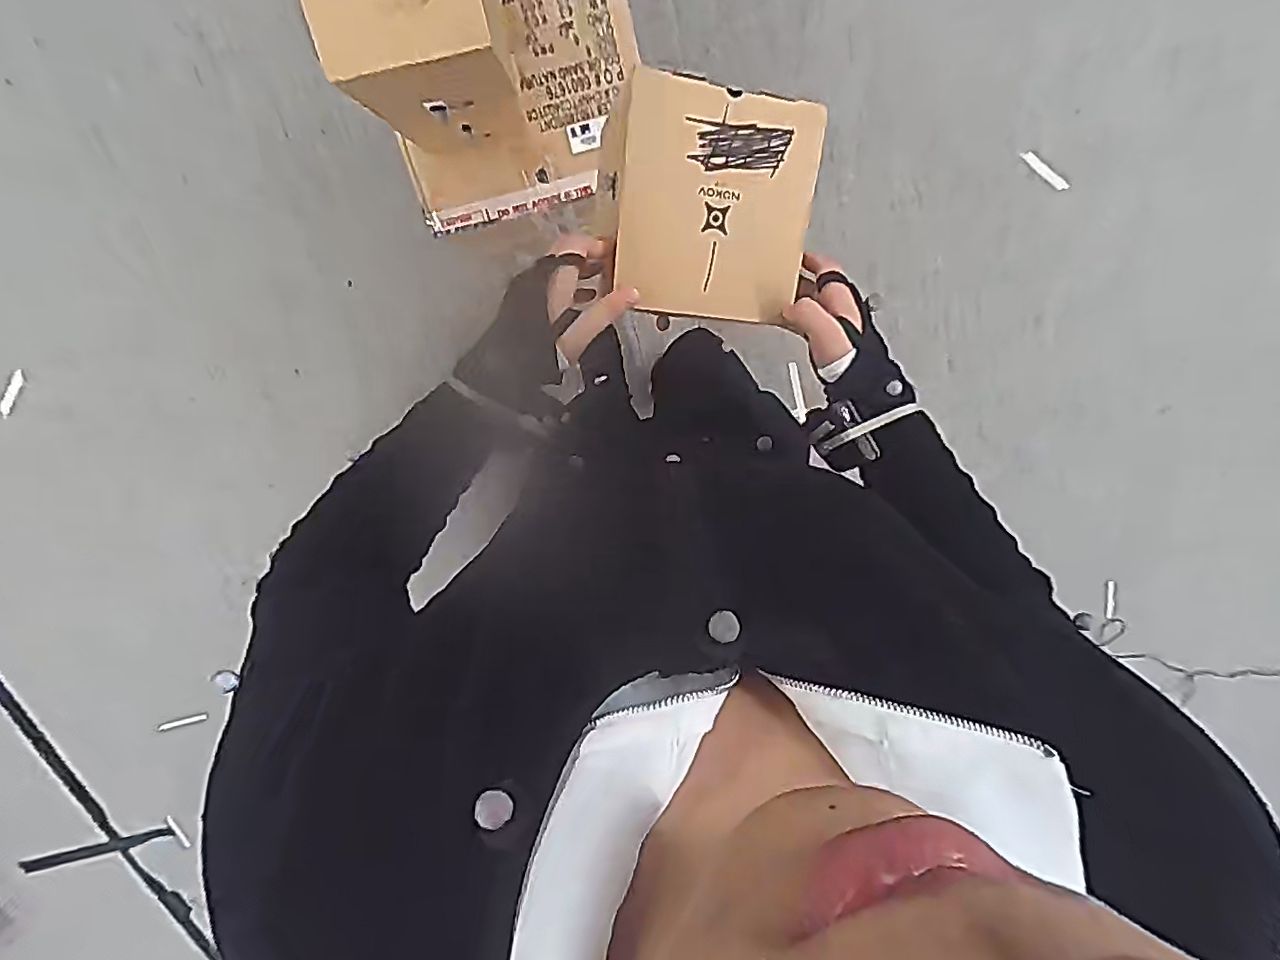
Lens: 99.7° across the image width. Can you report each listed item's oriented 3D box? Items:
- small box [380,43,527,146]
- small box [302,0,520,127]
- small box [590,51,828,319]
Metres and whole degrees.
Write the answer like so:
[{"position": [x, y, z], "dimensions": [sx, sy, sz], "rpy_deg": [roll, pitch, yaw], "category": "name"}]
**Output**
[{"position": [-0.256, -0.560, 0.710], "dimensions": [0.168, 0.176, 0.179], "rpy_deg": [-12, 111, 1], "category": "small box"}, {"position": [-0.236, -0.500, 0.559], "dimensions": [0.168, 0.176, 0.179], "rpy_deg": [-11, 111, 2], "category": "small box"}, {"position": [0.048, -0.255, 0.516], "dimensions": [0.168, 0.176, 0.179], "rpy_deg": [3, 107, -13], "category": "small box"}]
